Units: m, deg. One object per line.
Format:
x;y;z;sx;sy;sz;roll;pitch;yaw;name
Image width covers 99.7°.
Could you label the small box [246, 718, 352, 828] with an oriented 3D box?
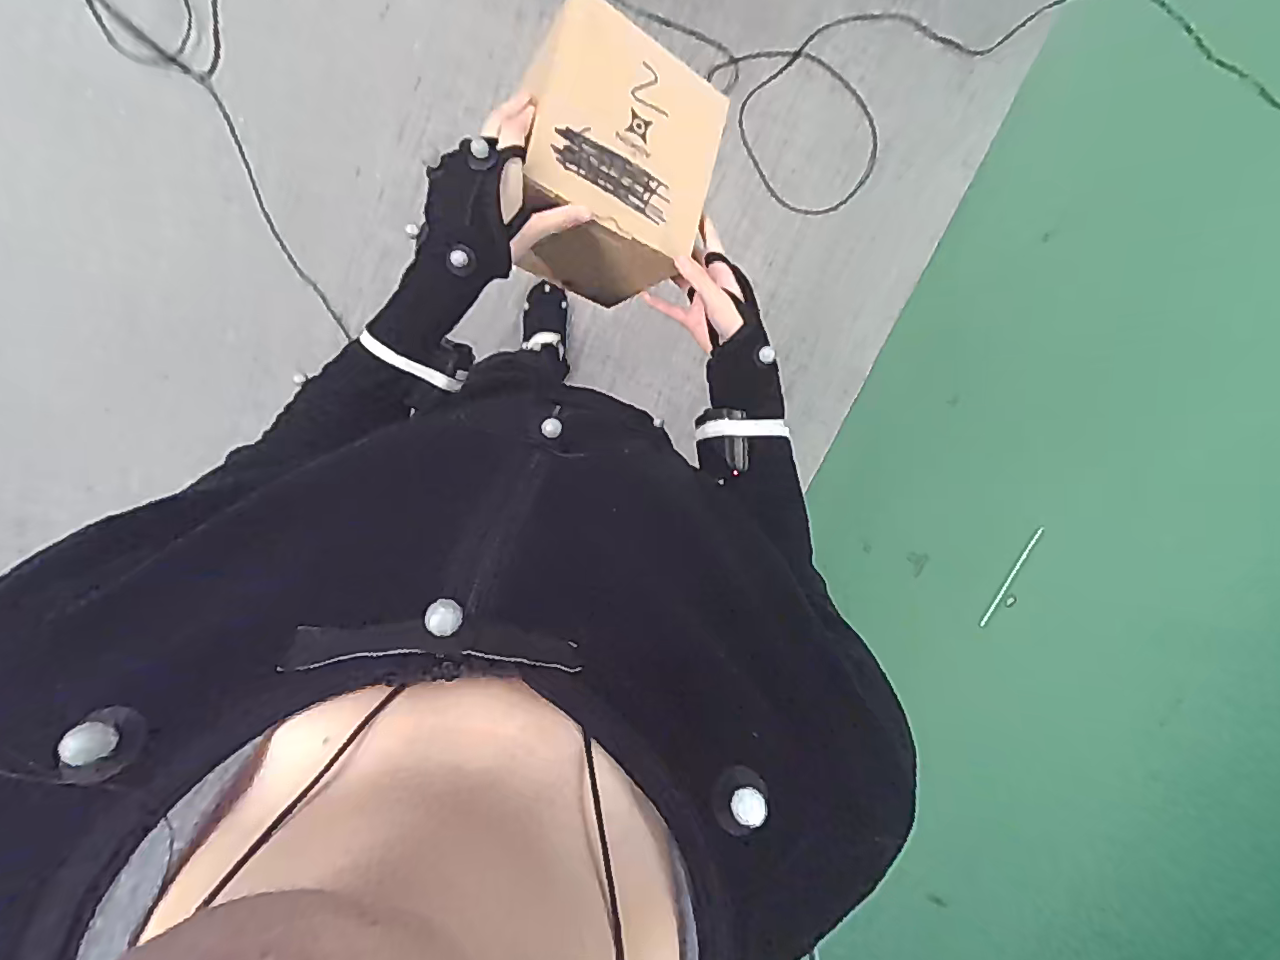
-0.917;0.792;1.472;0.168;0.176;0.179;25;99;-13;small box
